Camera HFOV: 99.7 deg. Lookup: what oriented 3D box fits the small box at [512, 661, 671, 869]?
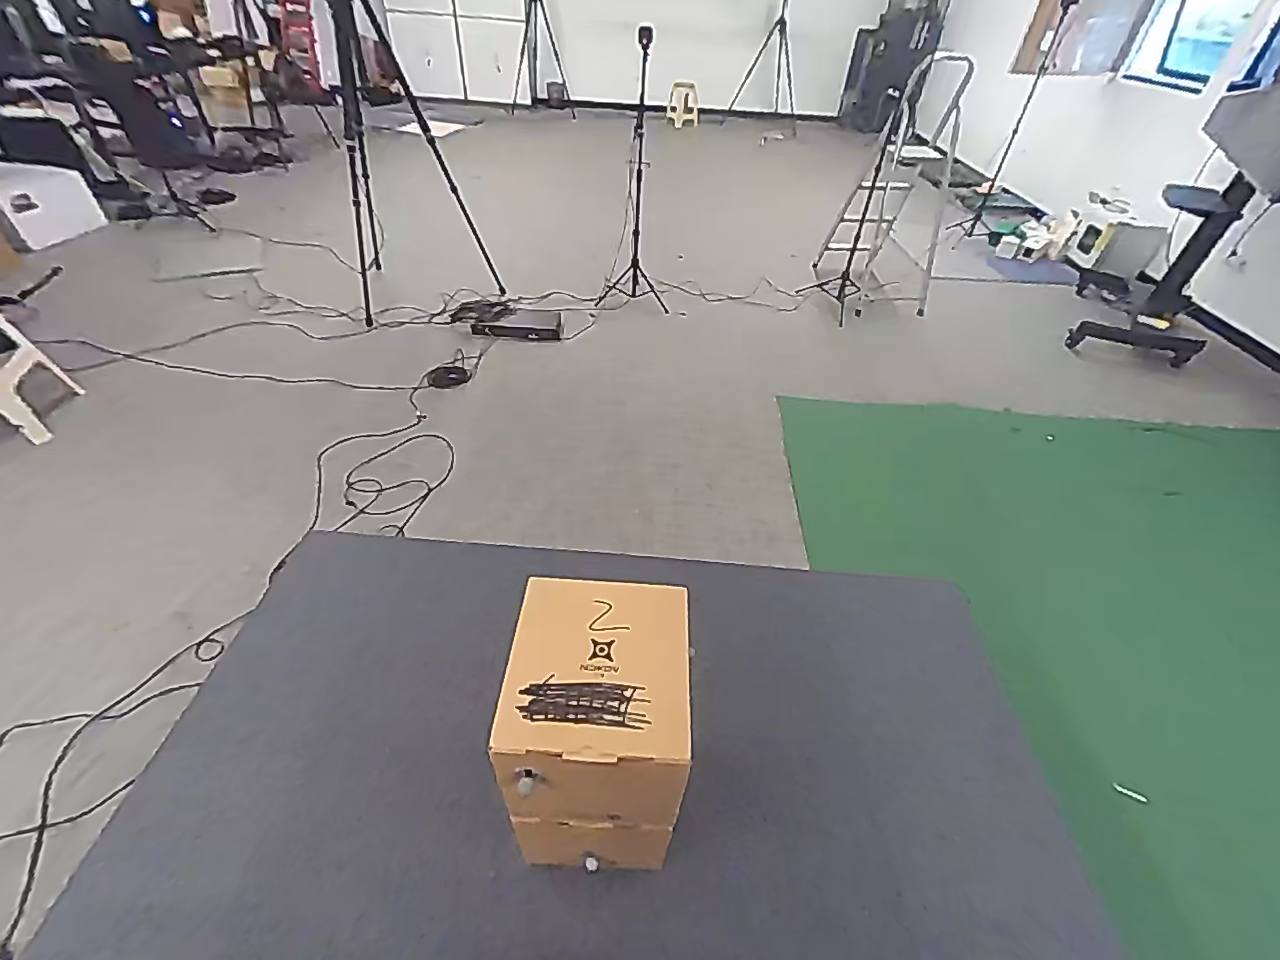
[{"bbox_3d":[-0.052,0.348,0.663,0.168,0.176,0.179,3,43,-1],"label":"small box"}]
